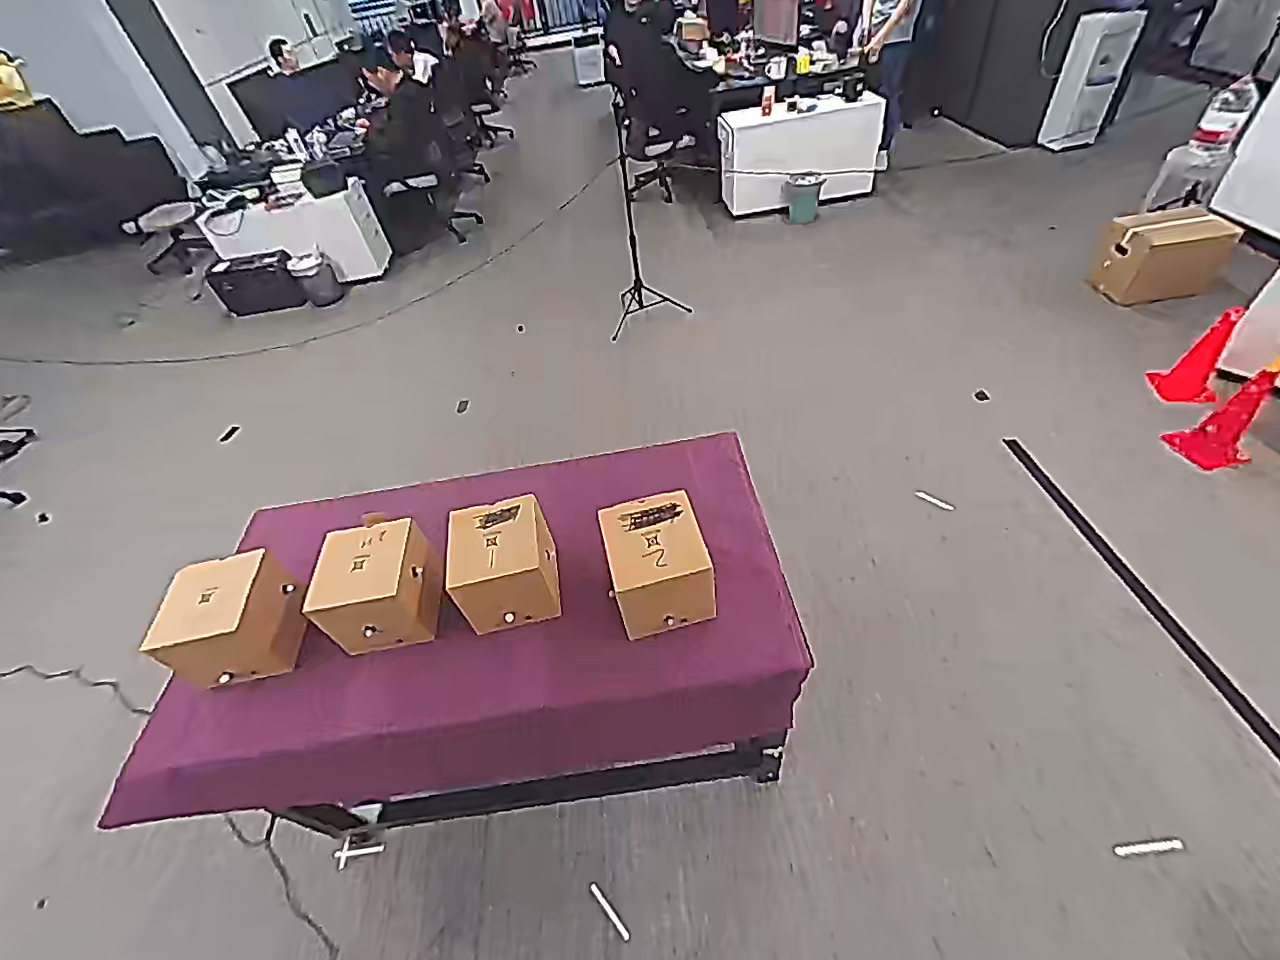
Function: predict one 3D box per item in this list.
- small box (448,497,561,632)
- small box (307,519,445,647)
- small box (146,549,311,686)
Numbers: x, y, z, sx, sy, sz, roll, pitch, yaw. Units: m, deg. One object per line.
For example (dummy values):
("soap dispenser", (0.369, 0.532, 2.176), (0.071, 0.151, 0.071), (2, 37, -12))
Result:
("small box", (-0.254, 0.162, 1.040), (0.168, 0.176, 0.179), (-13, 46, -2))
("small box", (-0.492, 0.204, 1.040), (0.168, 0.176, 0.179), (-10, 46, 0))
("small box", (-0.760, 0.263, 1.031), (0.168, 0.176, 0.179), (-12, 46, -1))
